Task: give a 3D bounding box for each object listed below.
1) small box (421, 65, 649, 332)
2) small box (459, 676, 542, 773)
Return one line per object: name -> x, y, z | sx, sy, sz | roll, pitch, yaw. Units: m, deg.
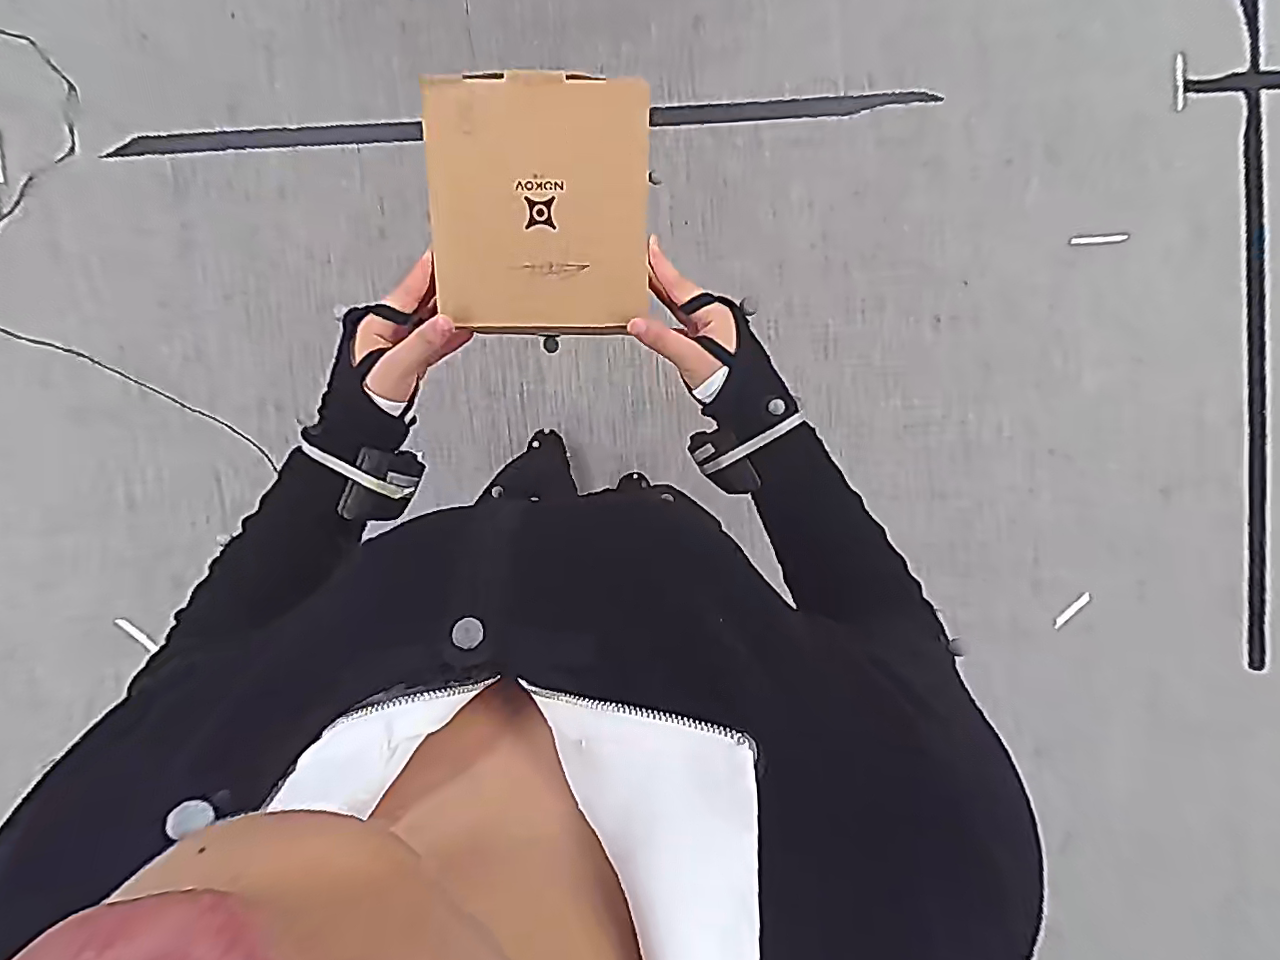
small box -> -0.080, -0.228, 0.484 | 0.168, 0.176, 0.179 | 0, 104, -1
small box -> -0.339, 0.607, 1.344 | 0.168, 0.176, 0.179 | -1, 93, 0
